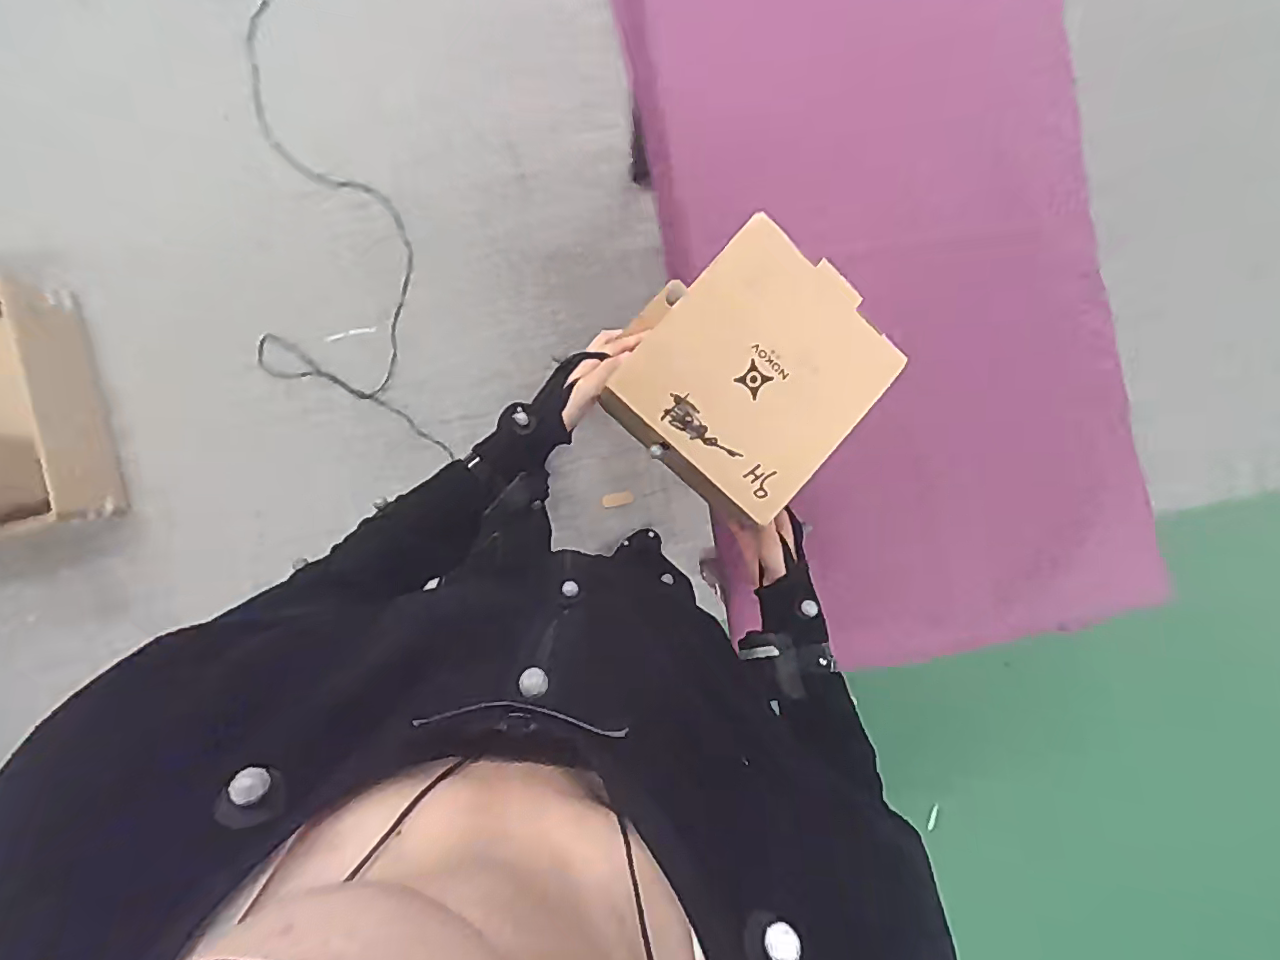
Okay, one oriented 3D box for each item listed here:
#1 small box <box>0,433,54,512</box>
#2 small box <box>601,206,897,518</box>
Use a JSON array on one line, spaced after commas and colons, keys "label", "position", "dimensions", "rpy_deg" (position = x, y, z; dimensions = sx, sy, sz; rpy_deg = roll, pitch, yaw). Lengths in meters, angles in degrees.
[{"label": "small box", "position": [-1.614, -0.015, 1.327], "dimensions": [0.168, 0.176, 0.179], "rpy_deg": [-17, 89, -3]}, {"label": "small box", "position": [0.076, -0.092, 0.484], "dimensions": [0.168, 0.176, 0.179], "rpy_deg": [41, 88, -7]}]
